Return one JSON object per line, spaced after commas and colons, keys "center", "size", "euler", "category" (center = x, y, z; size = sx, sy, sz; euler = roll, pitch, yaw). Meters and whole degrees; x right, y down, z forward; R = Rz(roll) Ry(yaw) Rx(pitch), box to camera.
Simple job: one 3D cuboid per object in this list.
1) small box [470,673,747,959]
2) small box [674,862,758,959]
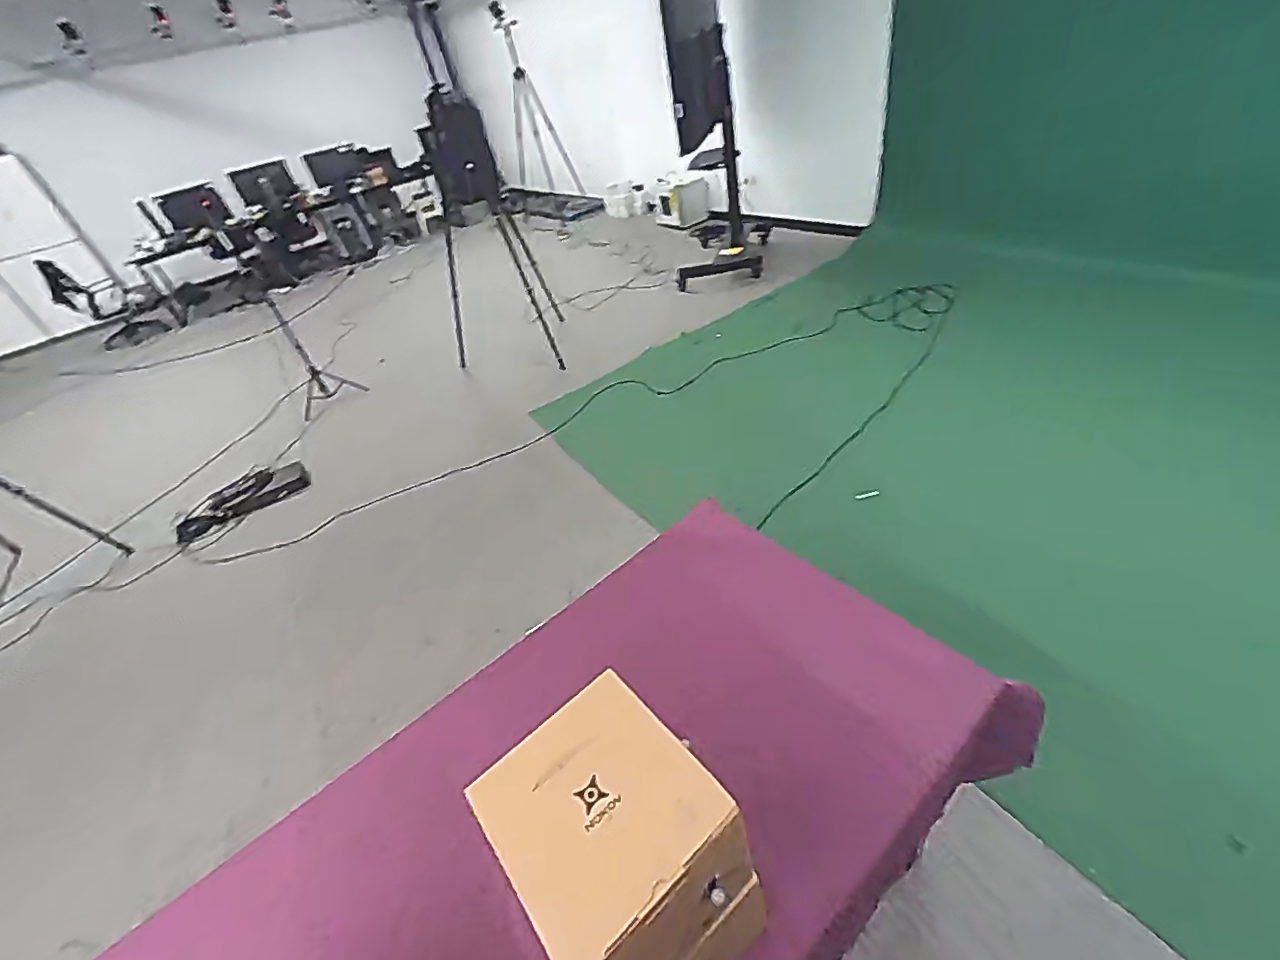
{"center": [-0.020, 0.324, 0.495], "size": [0.168, 0.176, 0.179], "euler": [-34, 42, -24], "category": "small box"}
{"center": [0.015, 0.451, 0.592], "size": [0.179, 0.176, 0.168], "euler": [-33, 43, -22], "category": "small box"}
